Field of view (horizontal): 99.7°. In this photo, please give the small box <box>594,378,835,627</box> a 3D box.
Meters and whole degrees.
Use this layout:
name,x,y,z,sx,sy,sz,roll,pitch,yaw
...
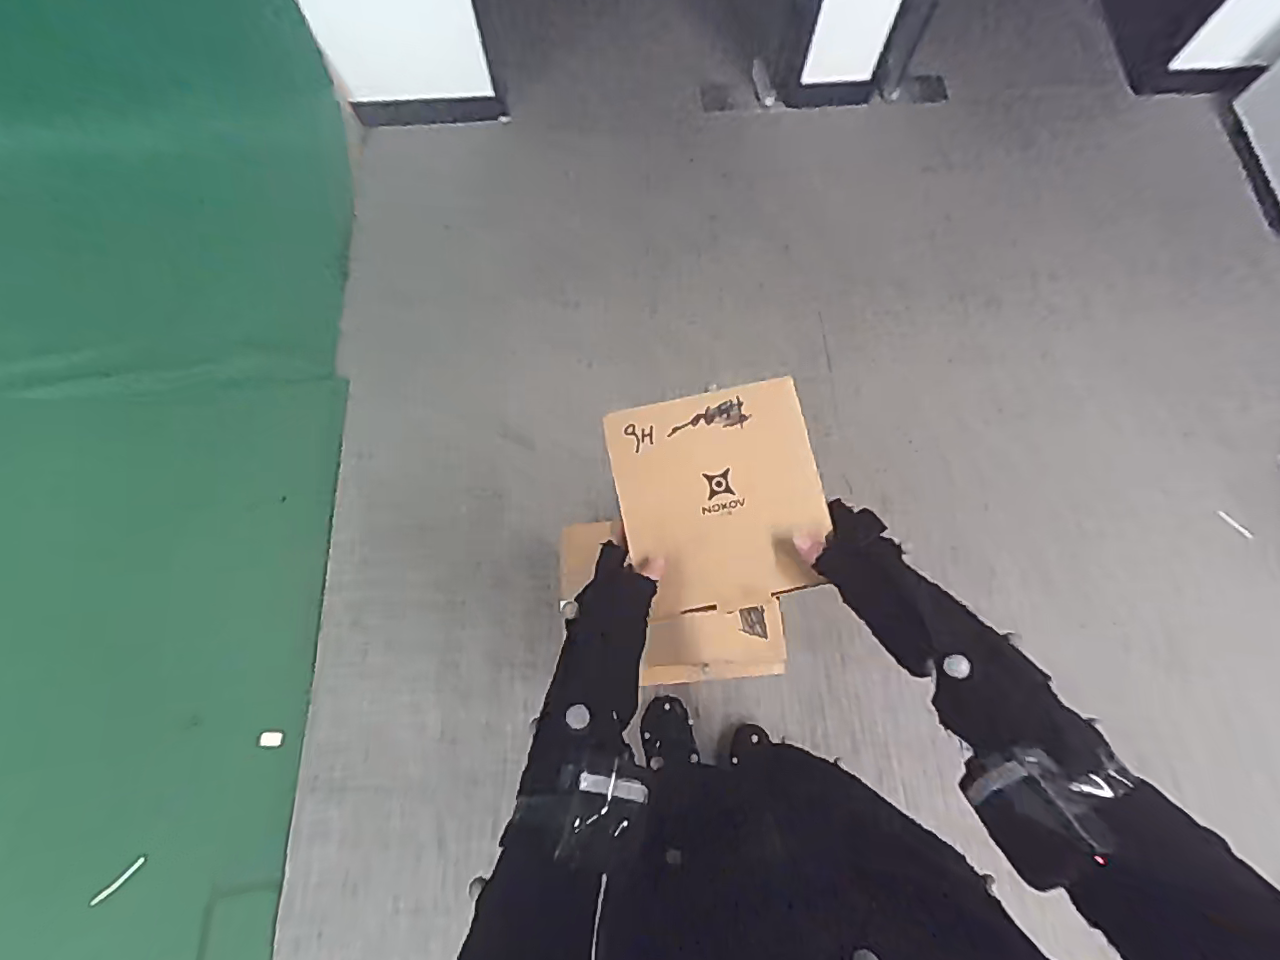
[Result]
name,x,y,z,sx,sy,sz,roll,pitch,yaw
small box,0.061,0.024,0.514,0.168,0.176,0.179,-13,83,0

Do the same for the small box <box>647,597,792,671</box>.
name,x,y,z,sx,sy,sz,roll,pitch,yaw
small box,0.099,0.177,0.774,0.179,0.176,0.168,-4,74,-2
